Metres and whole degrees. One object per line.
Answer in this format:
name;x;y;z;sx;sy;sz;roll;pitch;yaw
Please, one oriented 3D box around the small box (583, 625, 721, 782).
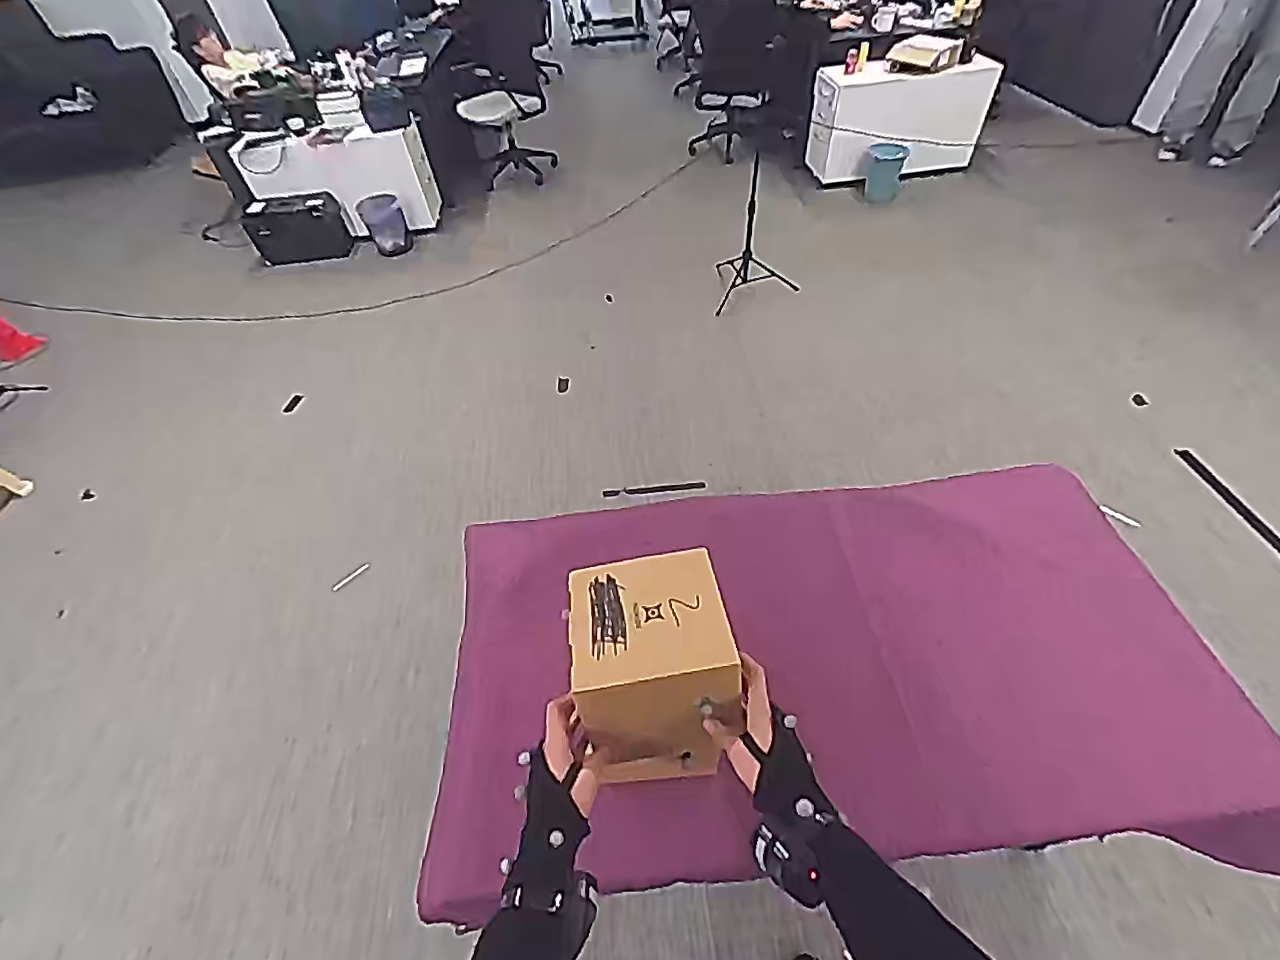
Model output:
small box;0.015;0.327;0.787;0.179;0.176;0.168;-5;49;0
